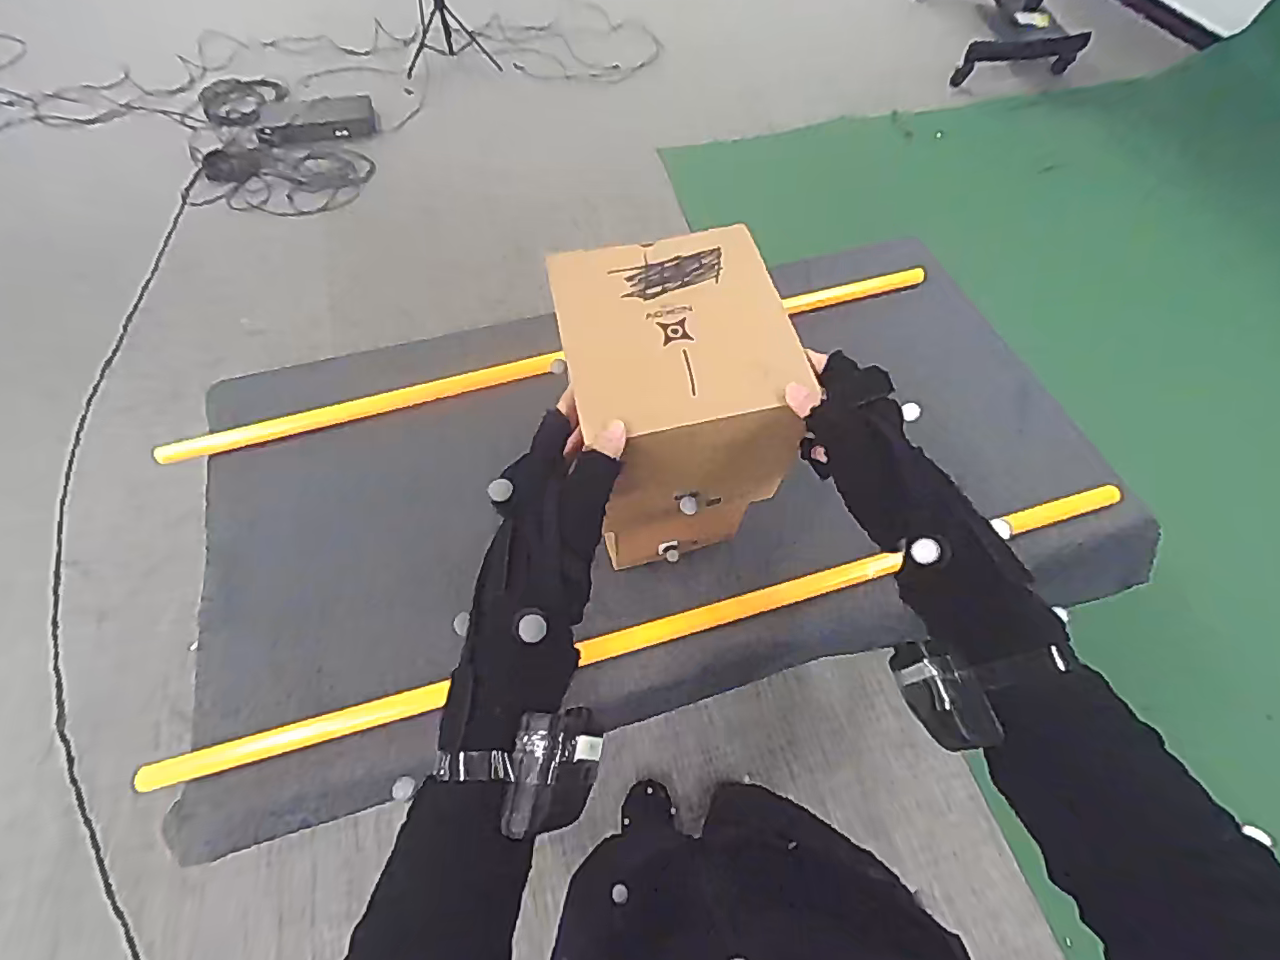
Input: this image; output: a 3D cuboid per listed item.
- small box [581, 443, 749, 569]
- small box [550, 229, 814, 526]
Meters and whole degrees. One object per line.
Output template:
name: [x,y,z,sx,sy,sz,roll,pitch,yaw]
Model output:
small box: [0.023,-0.013,0.676,0.168,0.176,0.179,-16,63,-8]
small box: [0.024,-0.081,0.472,0.168,0.176,0.179,-12,65,-4]
